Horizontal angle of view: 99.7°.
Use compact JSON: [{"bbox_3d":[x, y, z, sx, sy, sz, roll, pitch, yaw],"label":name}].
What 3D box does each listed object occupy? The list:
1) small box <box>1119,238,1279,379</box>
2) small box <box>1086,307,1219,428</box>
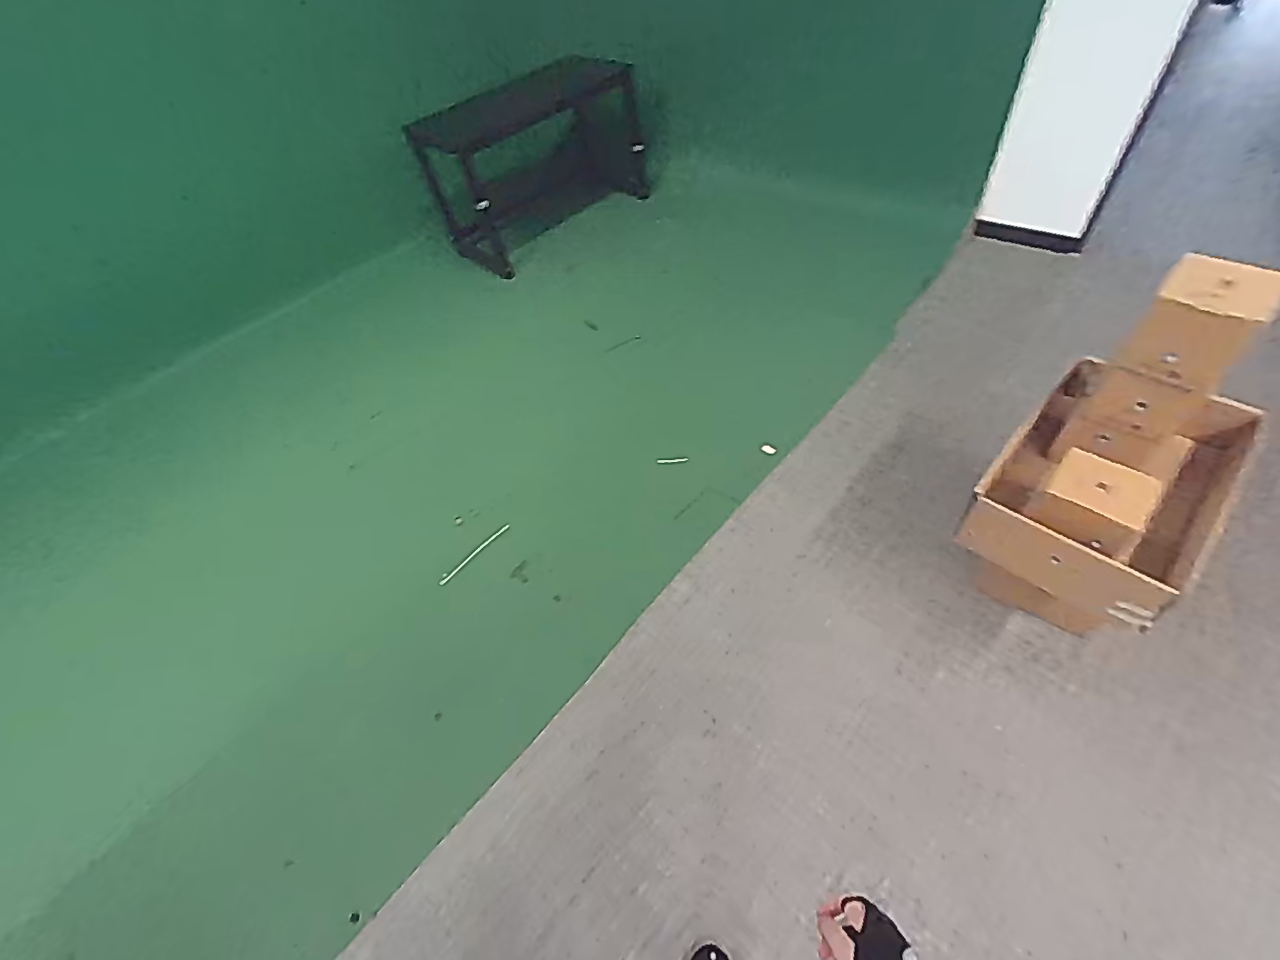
[{"bbox_3d":[1.092,-0.332,1.052,0.179,0.176,0.168,-42,55,-19],"label":"small box"},{"bbox_3d":[1.129,-0.244,1.188,0.168,0.176,0.179,29,64,28],"label":"small box"}]
